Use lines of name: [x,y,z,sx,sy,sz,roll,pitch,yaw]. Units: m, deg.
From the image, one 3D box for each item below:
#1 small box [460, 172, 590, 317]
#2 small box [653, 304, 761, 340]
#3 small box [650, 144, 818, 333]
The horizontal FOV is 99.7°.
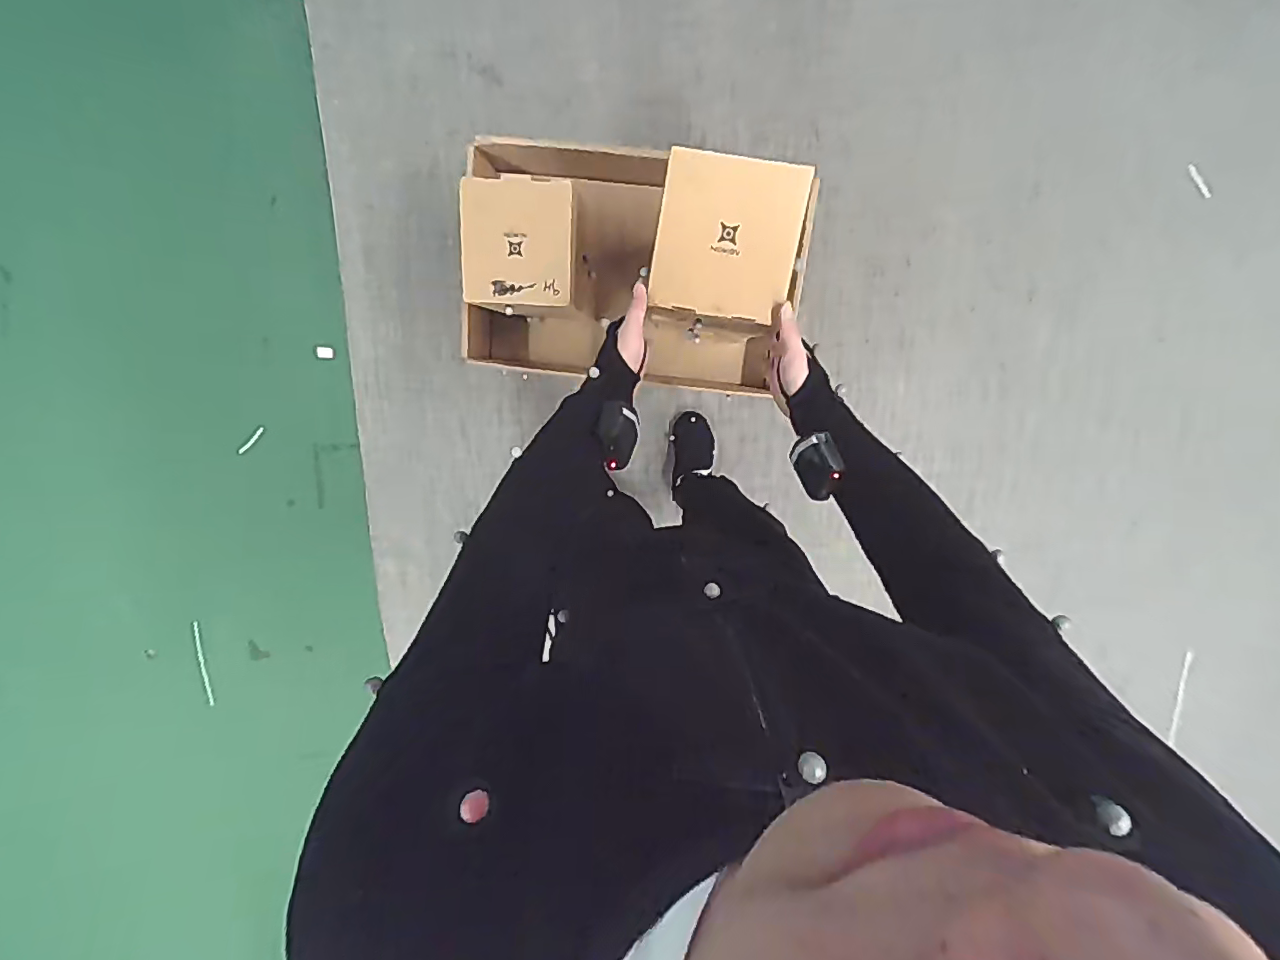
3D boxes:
small box: [-0.174,-0.361,0.857,0.168,0.176,0.179,4,102,3]
small box: [0.115,-0.325,0.853,0.168,0.176,0.179,10,103,1]
small box: [0.108,-0.293,0.694,0.168,0.176,0.179,10,103,1]
